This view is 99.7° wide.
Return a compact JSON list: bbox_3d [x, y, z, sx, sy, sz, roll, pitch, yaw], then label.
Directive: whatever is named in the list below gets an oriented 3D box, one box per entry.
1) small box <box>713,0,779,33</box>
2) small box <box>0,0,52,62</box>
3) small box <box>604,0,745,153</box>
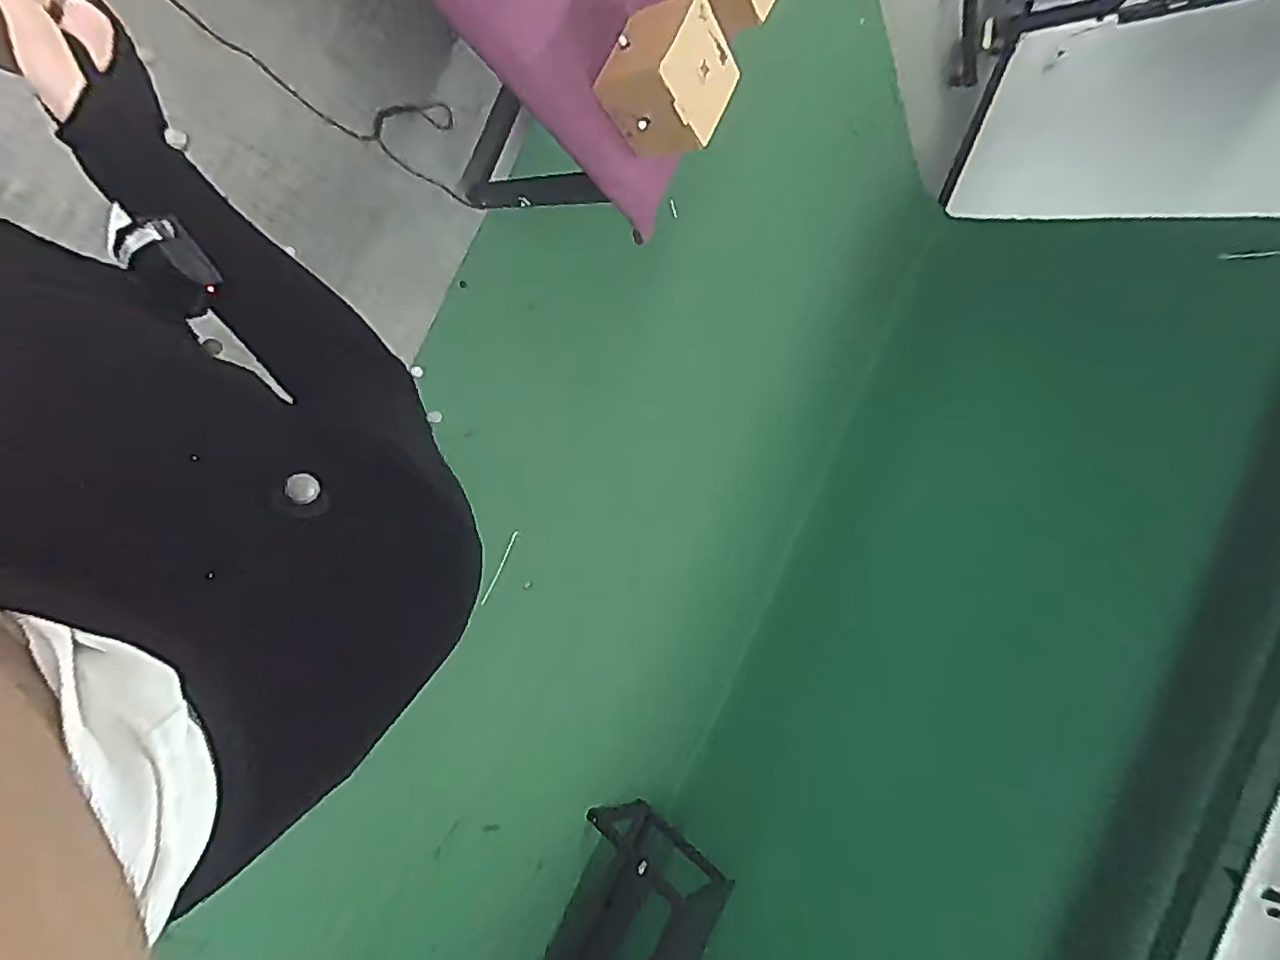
[{"bbox_3d":[0.177,-0.990,1.014,0.168,0.176,0.179,33,84,-49],"label":"small box"},{"bbox_3d":[-0.519,-0.433,0.362,0.168,0.176,0.179,-2,103,-47],"label":"small box"},{"bbox_3d":[0.058,-0.740,1.000,0.168,0.176,0.179,33,82,-50],"label":"small box"}]
